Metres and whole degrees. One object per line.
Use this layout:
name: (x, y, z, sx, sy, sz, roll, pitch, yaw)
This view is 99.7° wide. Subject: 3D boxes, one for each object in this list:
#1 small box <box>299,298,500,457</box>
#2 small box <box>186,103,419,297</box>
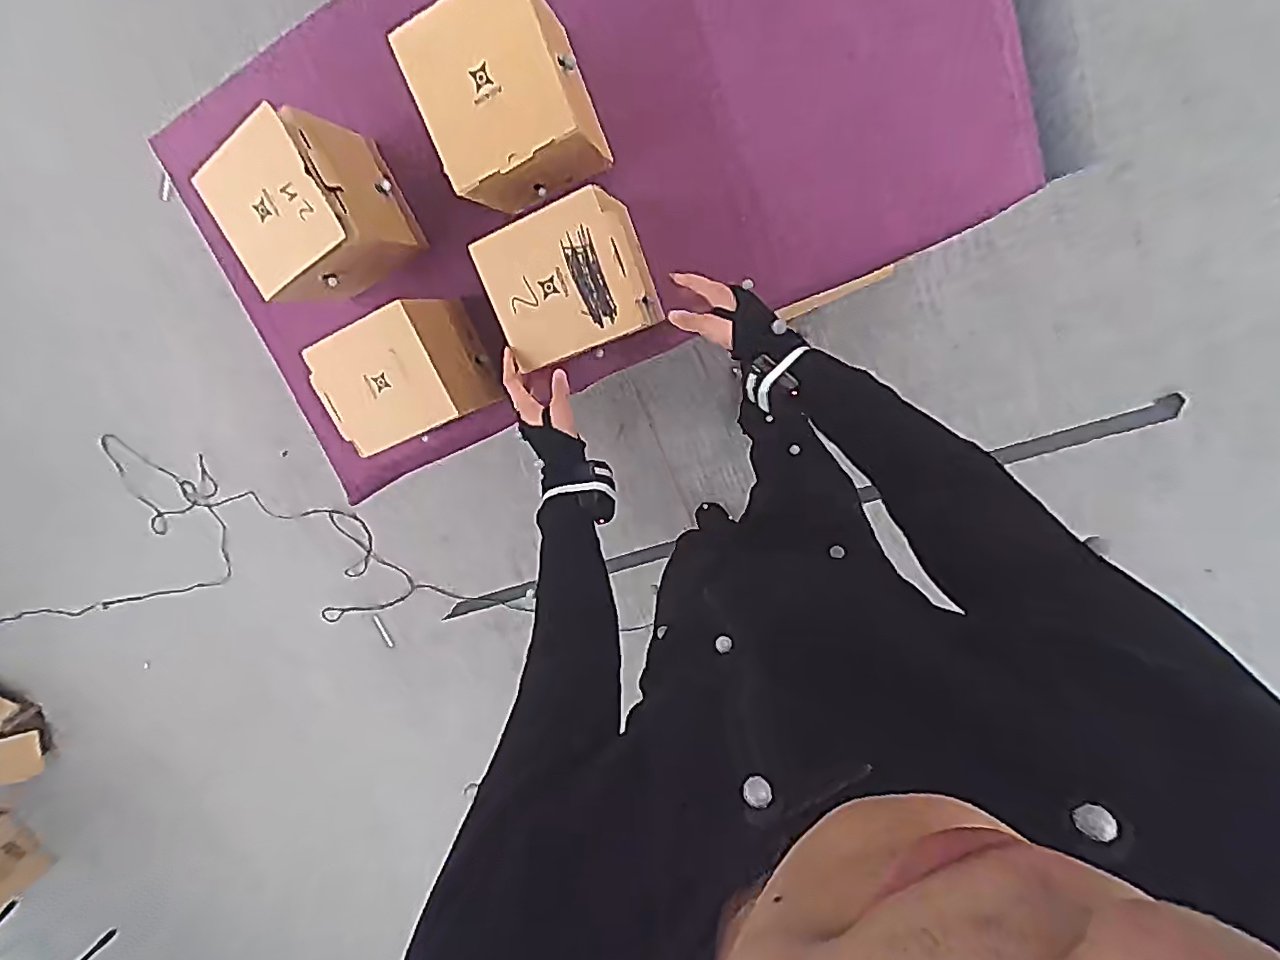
small box: (-0.341, -0.155, 0.800, 0.179, 0.176, 0.168, -20, 104, 15)
small box: (-0.449, -0.365, 0.746, 0.179, 0.176, 0.168, -22, 104, 16)
